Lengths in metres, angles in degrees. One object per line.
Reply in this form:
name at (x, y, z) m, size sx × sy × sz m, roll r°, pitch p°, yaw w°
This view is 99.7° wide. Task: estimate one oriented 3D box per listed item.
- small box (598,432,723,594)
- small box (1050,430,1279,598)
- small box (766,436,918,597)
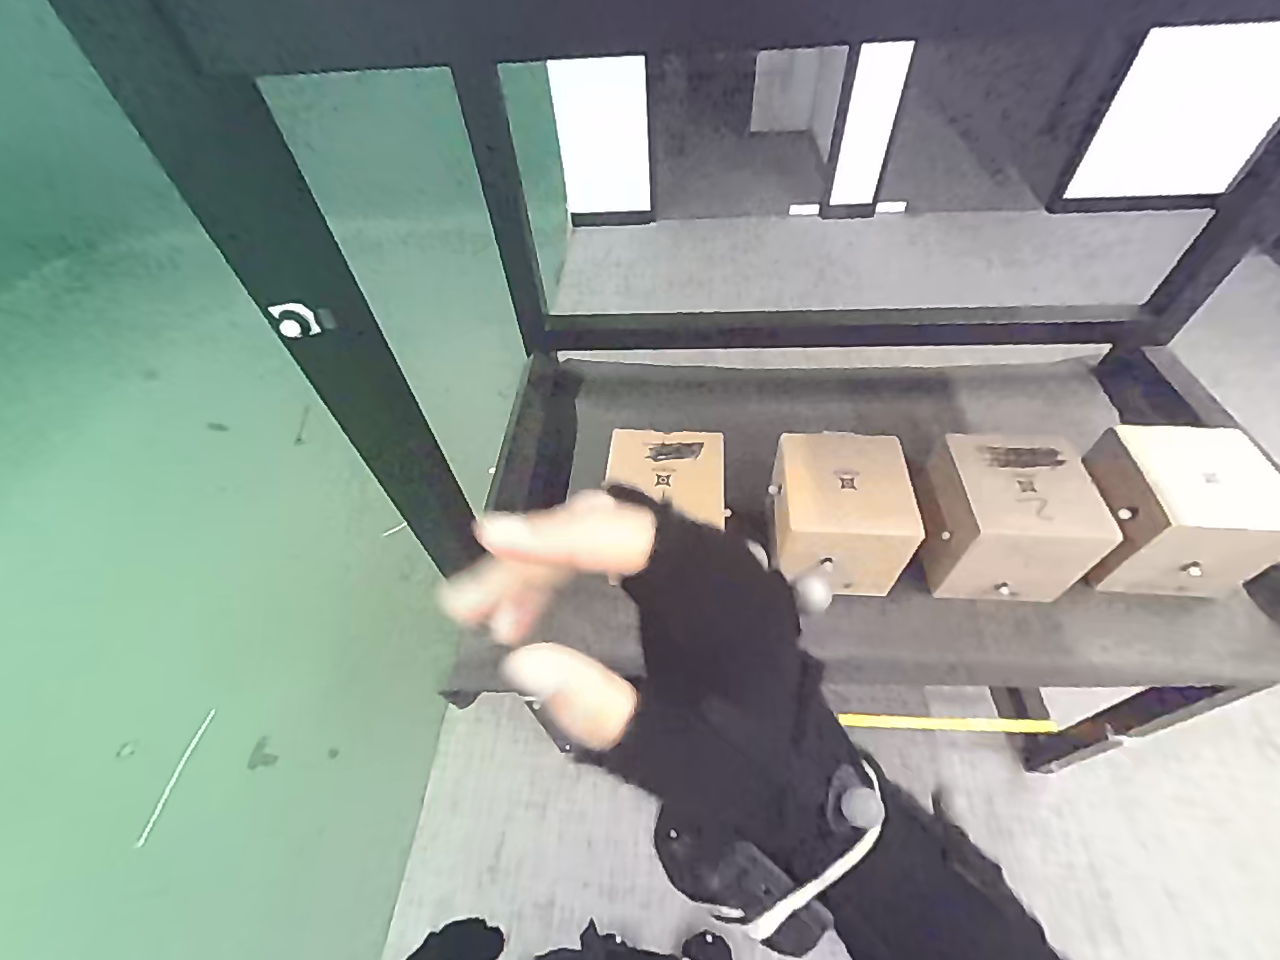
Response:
small box at (0.036, 0.050, 0.815) m, size 0.168 × 0.176 × 0.179 m, roll 2°, pitch 51°, yaw 6°
small box at (0.732, 0.051, 0.762) m, size 0.168 × 0.176 × 0.179 m, roll 3°, pitch 50°, yaw 7°
small box at (0.280, 0.057, 0.793) m, size 0.168 × 0.176 × 0.179 m, roll 2°, pitch 50°, yaw 6°
